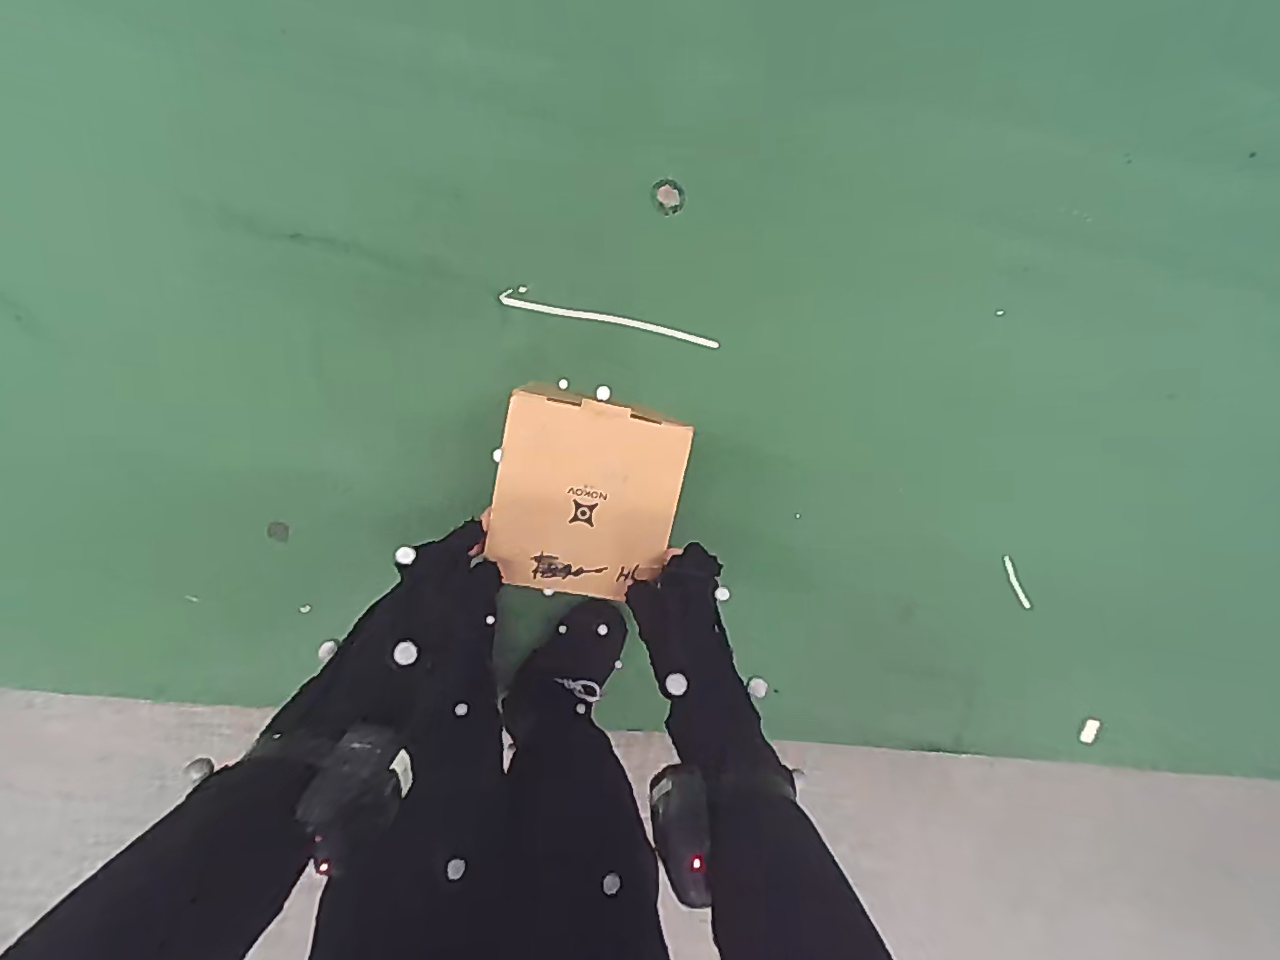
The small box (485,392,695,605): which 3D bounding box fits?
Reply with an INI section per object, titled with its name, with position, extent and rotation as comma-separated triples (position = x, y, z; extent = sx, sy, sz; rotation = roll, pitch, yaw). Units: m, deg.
[small box]
position = -0.056, 0.008, 0.572
extent = 0.168, 0.176, 0.179
rotation = 11, 99, -9
